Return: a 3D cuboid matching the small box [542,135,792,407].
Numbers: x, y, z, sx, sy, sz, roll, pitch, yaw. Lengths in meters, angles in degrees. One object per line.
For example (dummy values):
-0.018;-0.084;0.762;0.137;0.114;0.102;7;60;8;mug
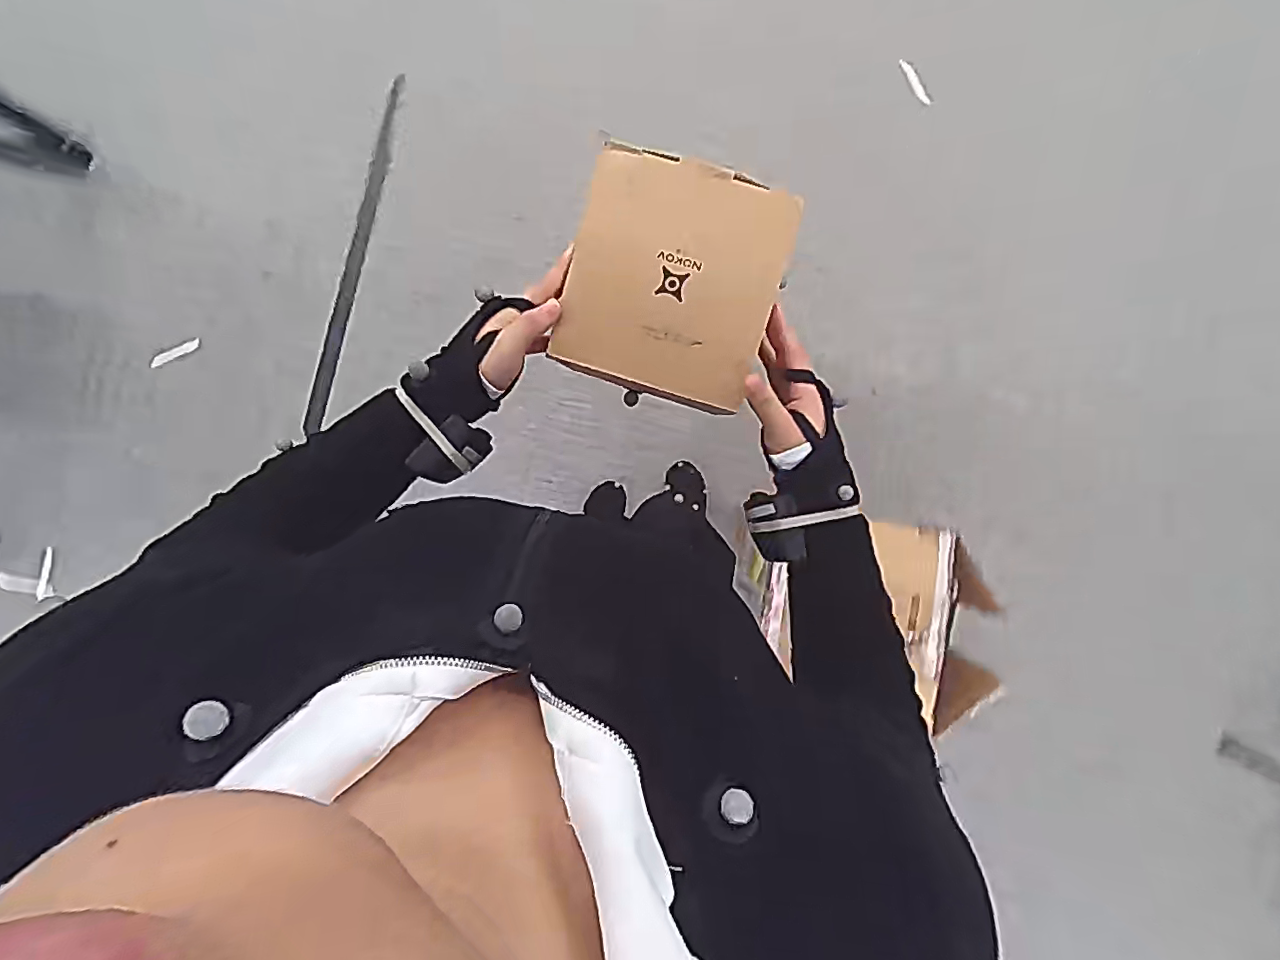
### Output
0.022;-0.175;0.511;0.168;0.176;0.179;16;97;0;small box
